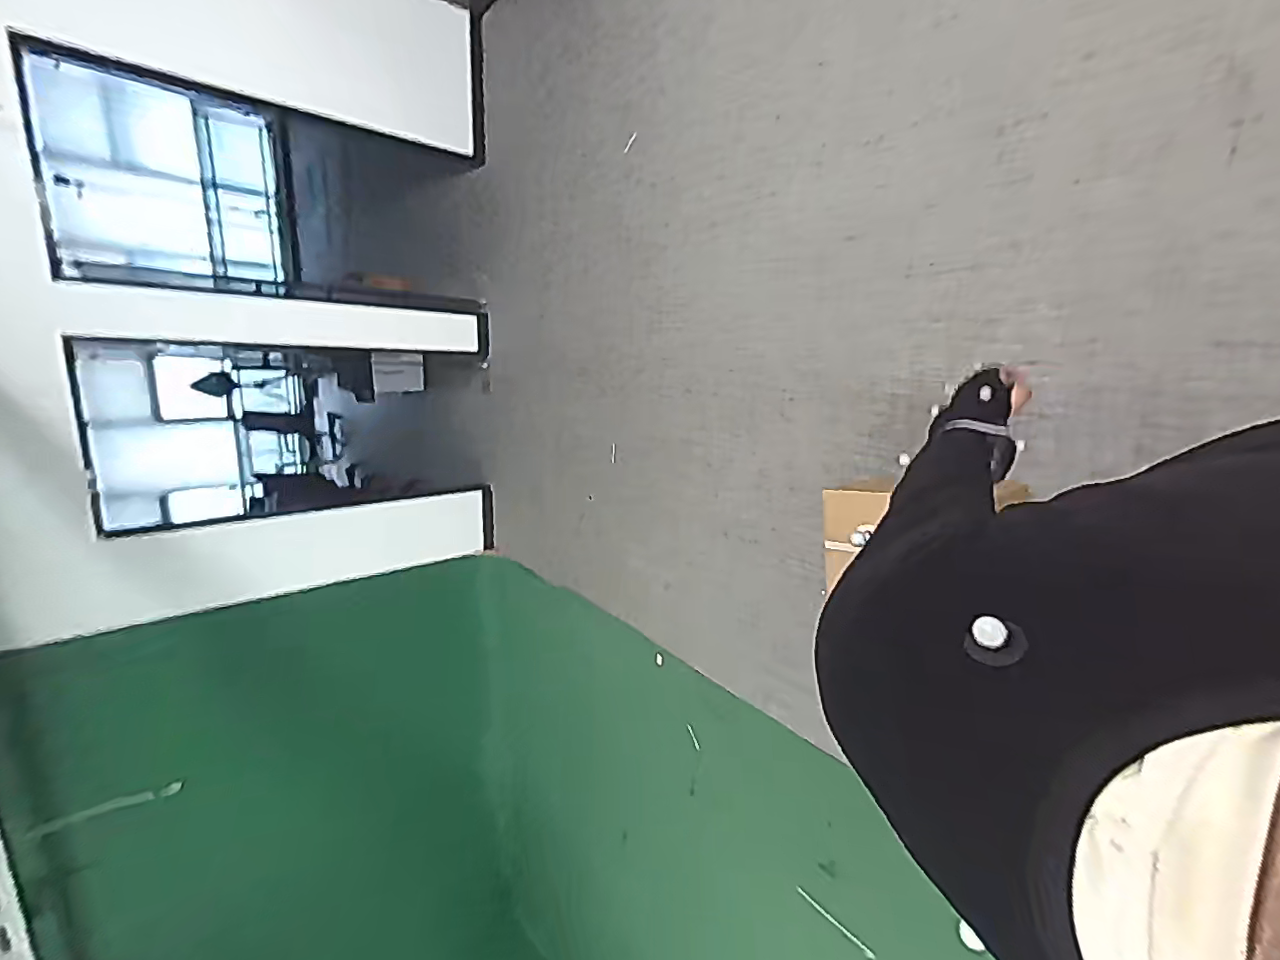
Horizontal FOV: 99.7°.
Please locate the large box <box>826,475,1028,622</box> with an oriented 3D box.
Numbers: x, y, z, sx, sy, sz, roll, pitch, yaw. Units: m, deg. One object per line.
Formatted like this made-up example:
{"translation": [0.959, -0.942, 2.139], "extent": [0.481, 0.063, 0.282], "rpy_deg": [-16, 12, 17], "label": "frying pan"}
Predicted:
{"translation": [0.773, 0.157, 1.471], "extent": [0.408, 0.320, 0.320], "rpy_deg": [3, 98, 51], "label": "large box"}
